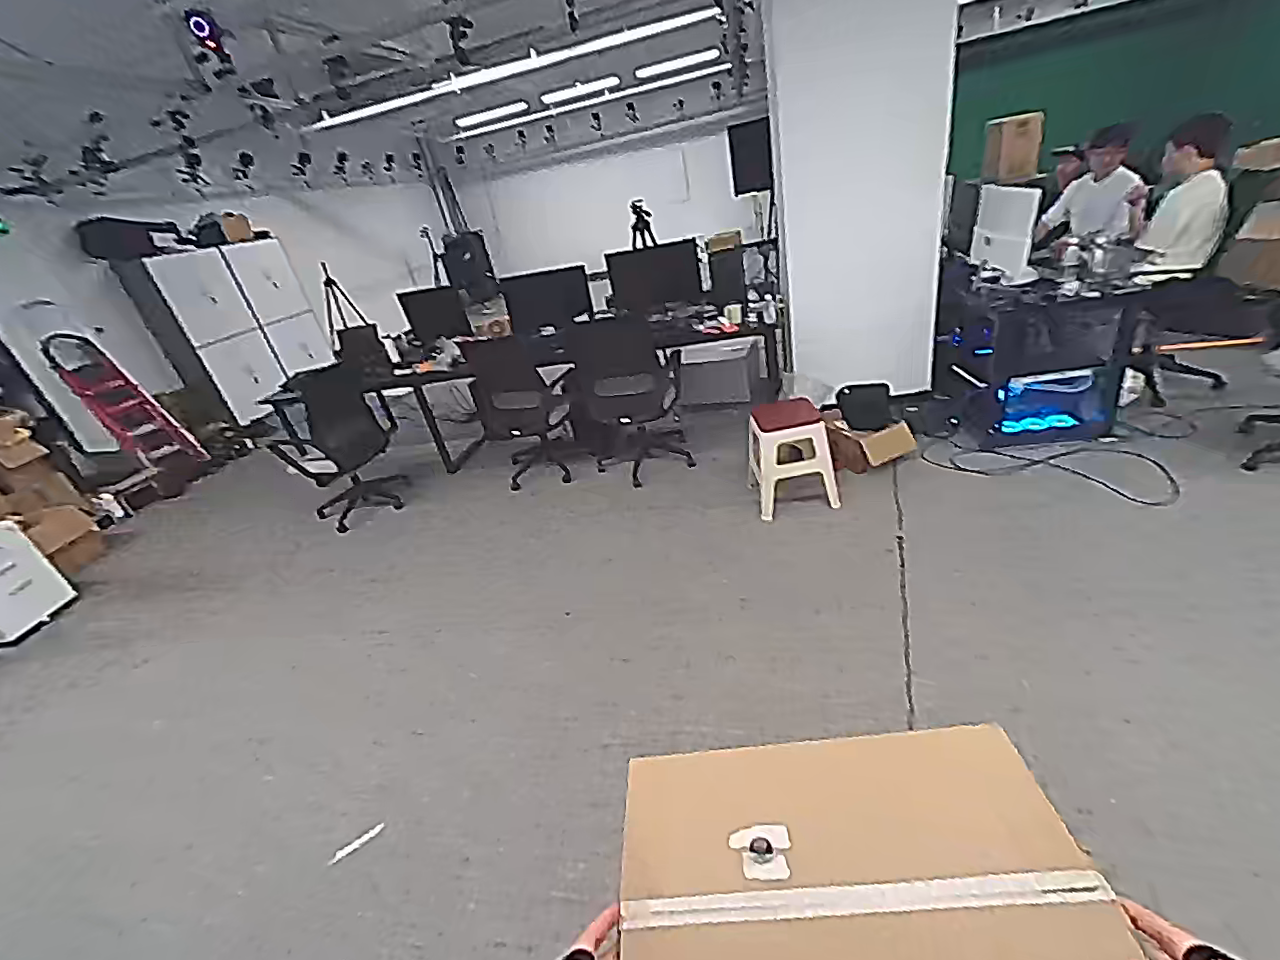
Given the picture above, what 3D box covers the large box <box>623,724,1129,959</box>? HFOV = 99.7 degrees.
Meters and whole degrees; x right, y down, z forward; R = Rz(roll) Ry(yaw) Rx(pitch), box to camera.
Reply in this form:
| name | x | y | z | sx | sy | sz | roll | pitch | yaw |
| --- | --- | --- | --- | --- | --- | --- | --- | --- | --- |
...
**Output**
| name | x | y | z | sx | sy | sz | roll | pitch | yaw |
| --- | --- | --- | --- | --- | --- | --- | --- | --- | --- |
| large box | 0.212 | 0.502 | 0.545 | 0.408 | 0.320 | 0.320 | -11 | 27 | 7 |
